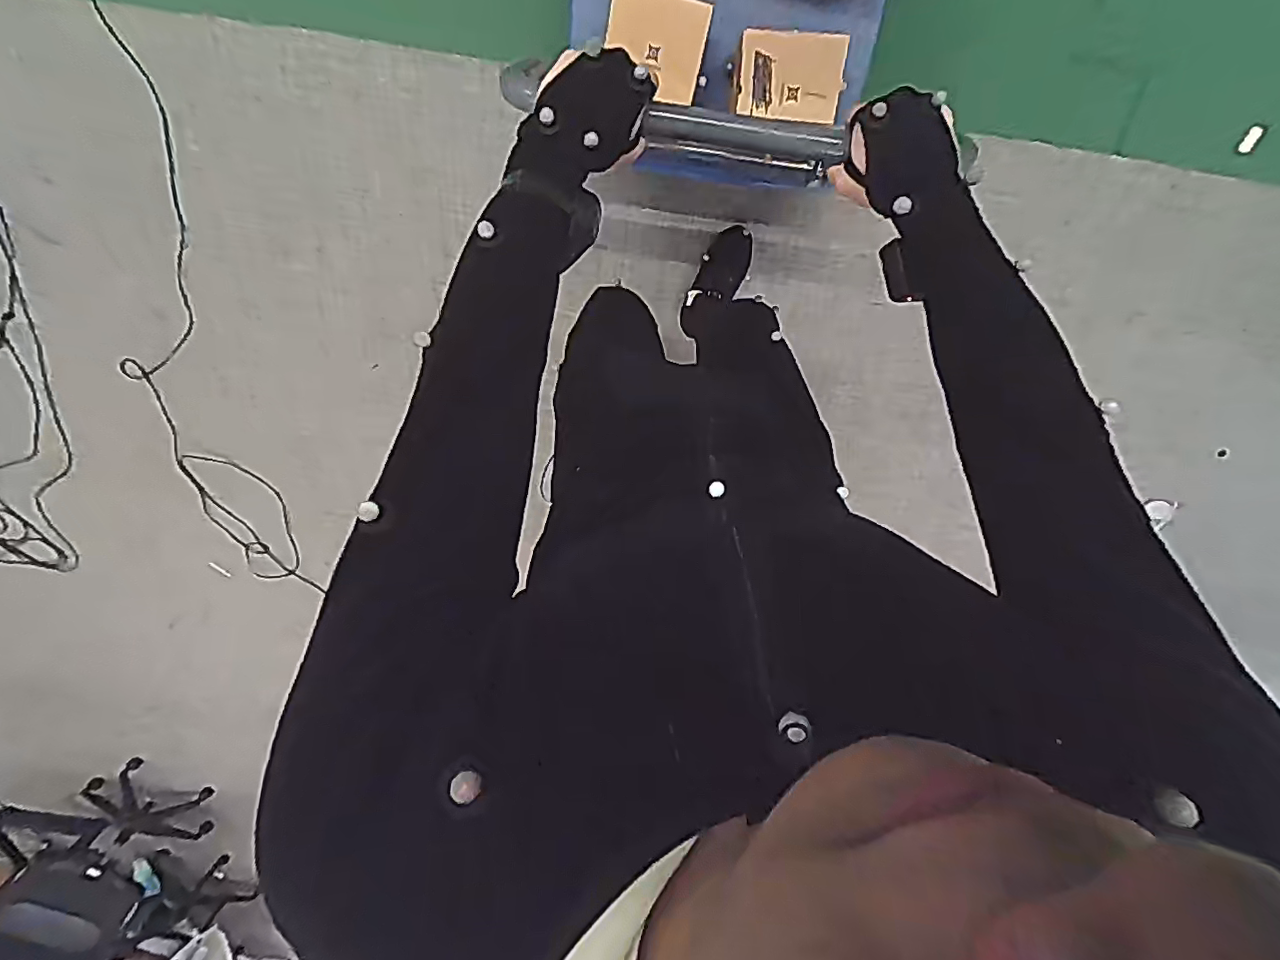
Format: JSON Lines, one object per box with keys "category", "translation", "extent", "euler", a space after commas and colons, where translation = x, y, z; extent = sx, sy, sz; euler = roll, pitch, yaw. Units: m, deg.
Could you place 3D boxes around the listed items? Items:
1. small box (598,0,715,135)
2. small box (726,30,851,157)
{"category": "small box", "translation": [0.026, -0.747, 0.977], "extent": [0.168, 0.176, 0.179], "euler": [13, 120, -4]}
{"category": "small box", "translation": [0.257, -0.695, 0.988], "extent": [0.179, 0.176, 0.168], "euler": [4, 120, 0]}
